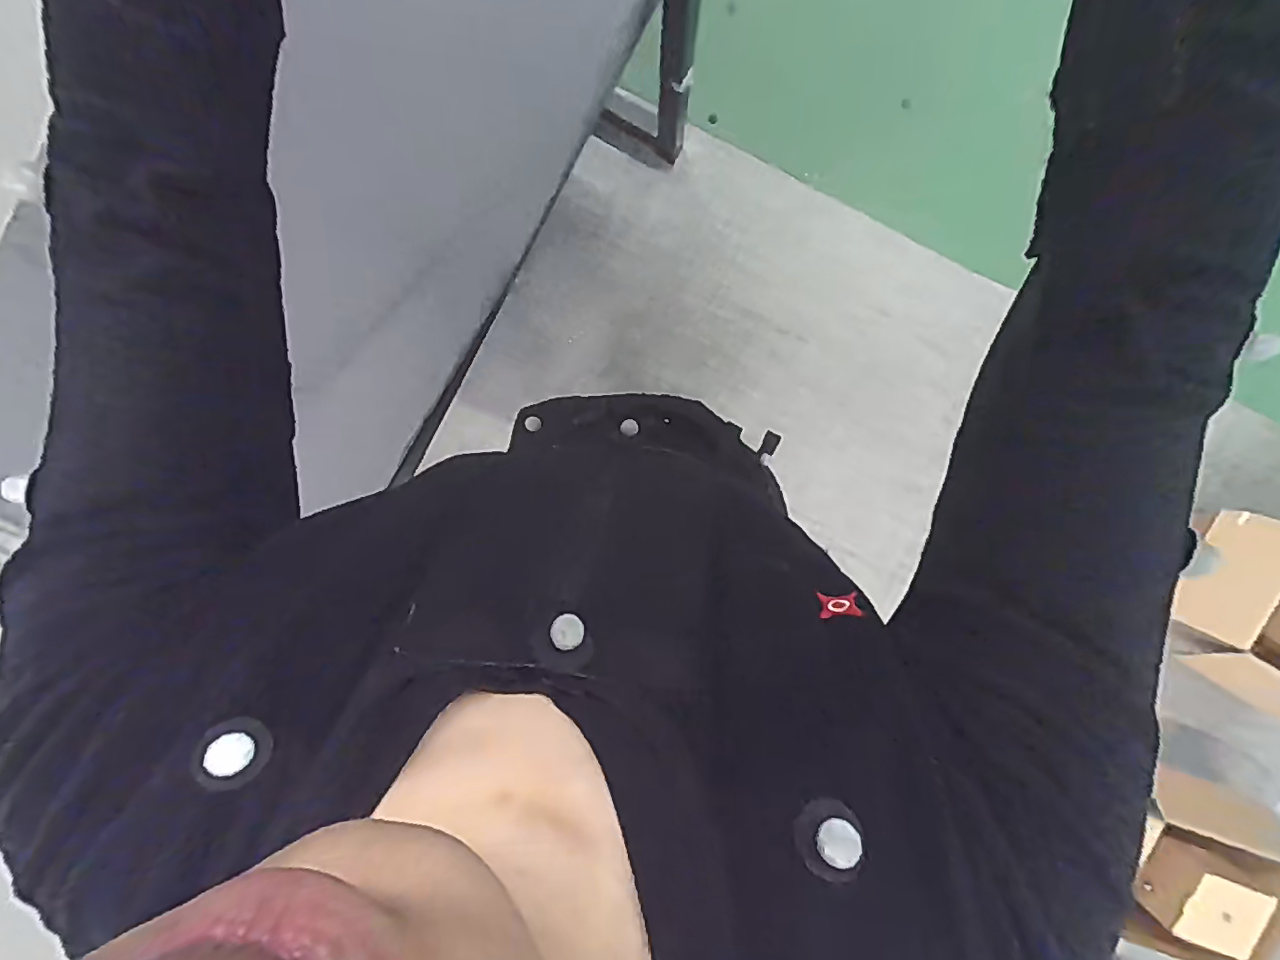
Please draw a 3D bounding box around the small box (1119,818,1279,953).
[{"bbox_3d":[1.309,0.947,1.281,0.179,0.176,0.168,20,97,0],"label":"small box"}]
